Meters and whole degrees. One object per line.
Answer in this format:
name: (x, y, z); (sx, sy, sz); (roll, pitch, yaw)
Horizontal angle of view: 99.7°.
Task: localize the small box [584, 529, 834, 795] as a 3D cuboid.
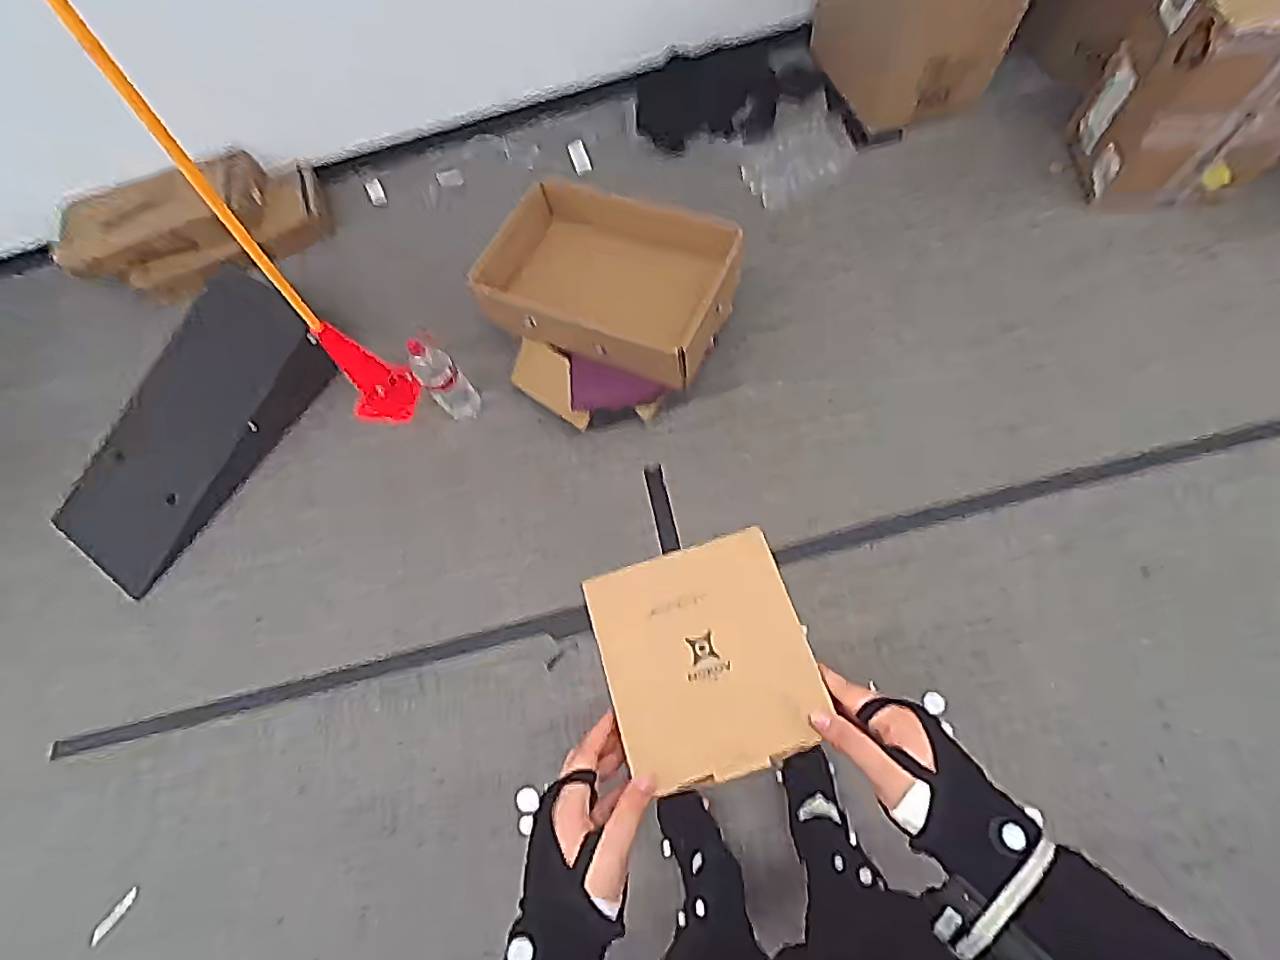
small box: (0.056, 0.171, 0.519); (0.168, 0.176, 0.179); (-17, 67, -3)
